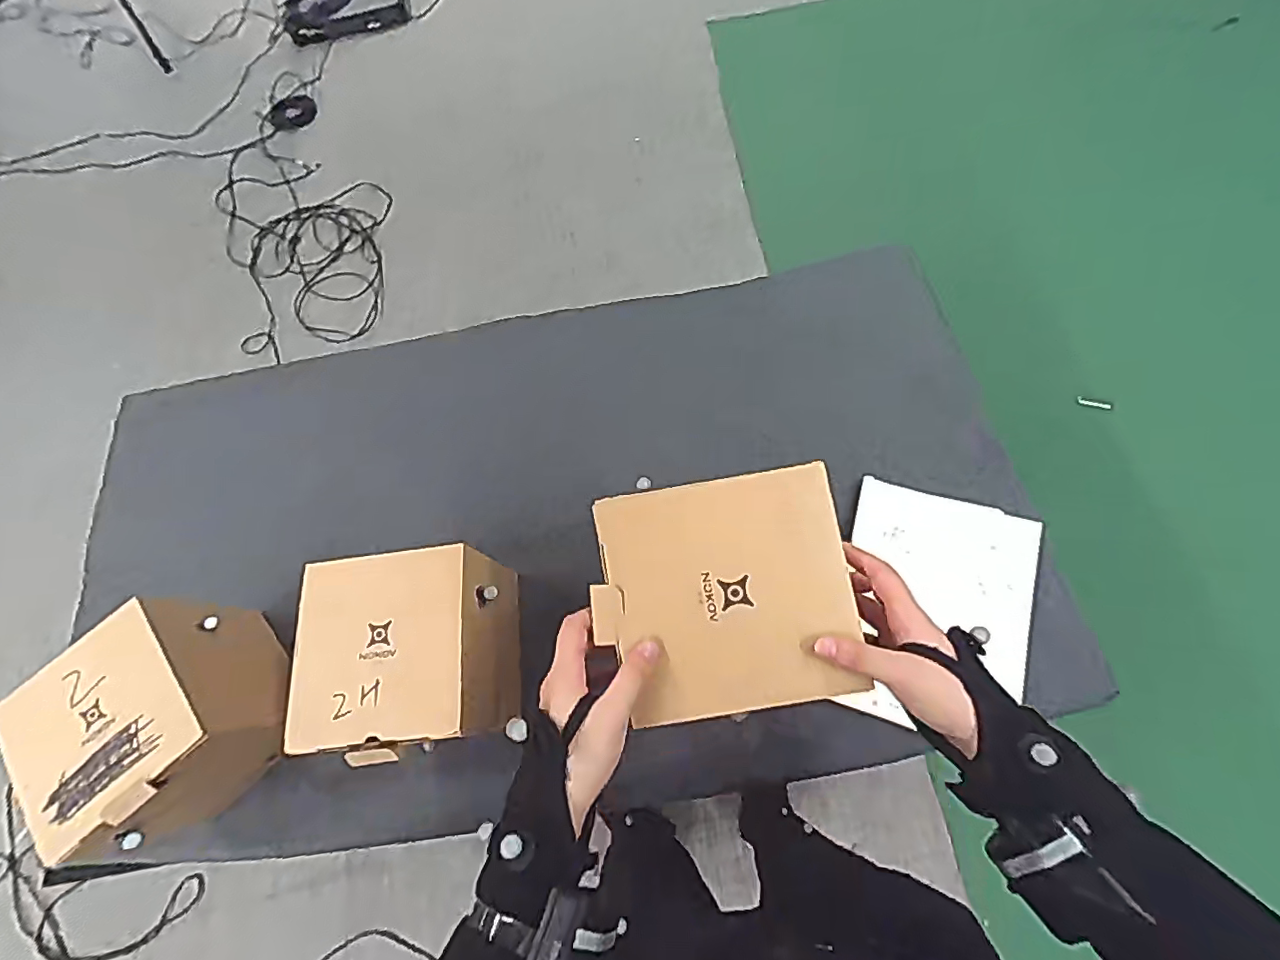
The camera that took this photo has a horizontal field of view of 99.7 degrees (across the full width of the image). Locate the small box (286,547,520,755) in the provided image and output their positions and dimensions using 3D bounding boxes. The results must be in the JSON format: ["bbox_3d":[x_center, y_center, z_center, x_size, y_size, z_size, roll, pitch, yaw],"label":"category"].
[{"bbox_3d":[-0.235,0.184,0.582,0.168,0.176,0.179,-9,69,4],"label":"small box"}]
